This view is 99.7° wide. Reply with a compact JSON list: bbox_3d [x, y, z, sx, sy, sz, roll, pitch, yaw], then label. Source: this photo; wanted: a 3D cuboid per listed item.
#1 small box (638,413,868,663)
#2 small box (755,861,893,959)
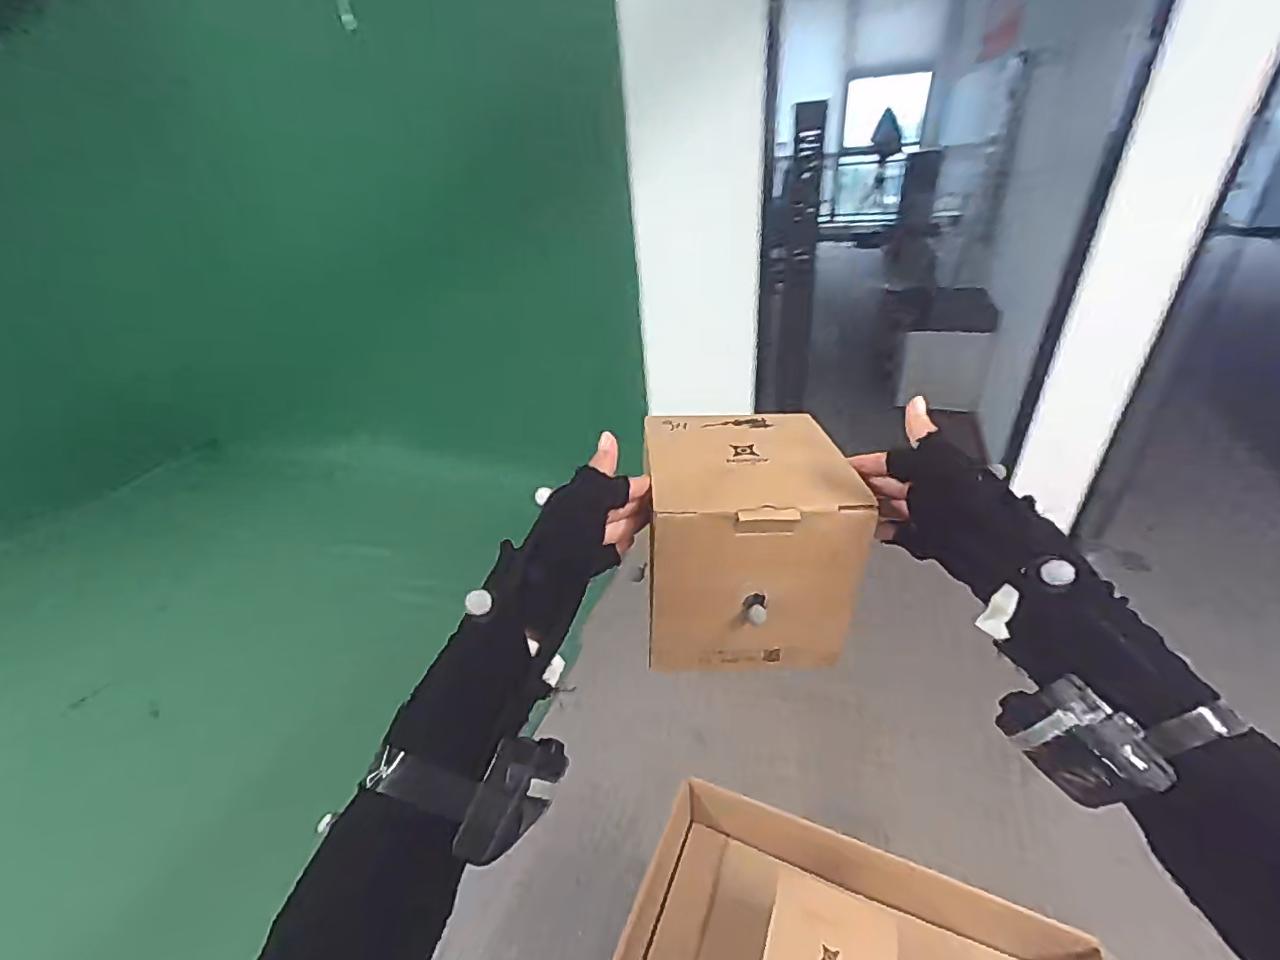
[{"bbox_3d":[0.083,0.050,0.499,0.168,0.176,0.179,0,31,-2],"label":"small box"},{"bbox_3d":[0.250,0.703,0.766,0.168,0.176,0.179,13,34,21],"label":"small box"}]
